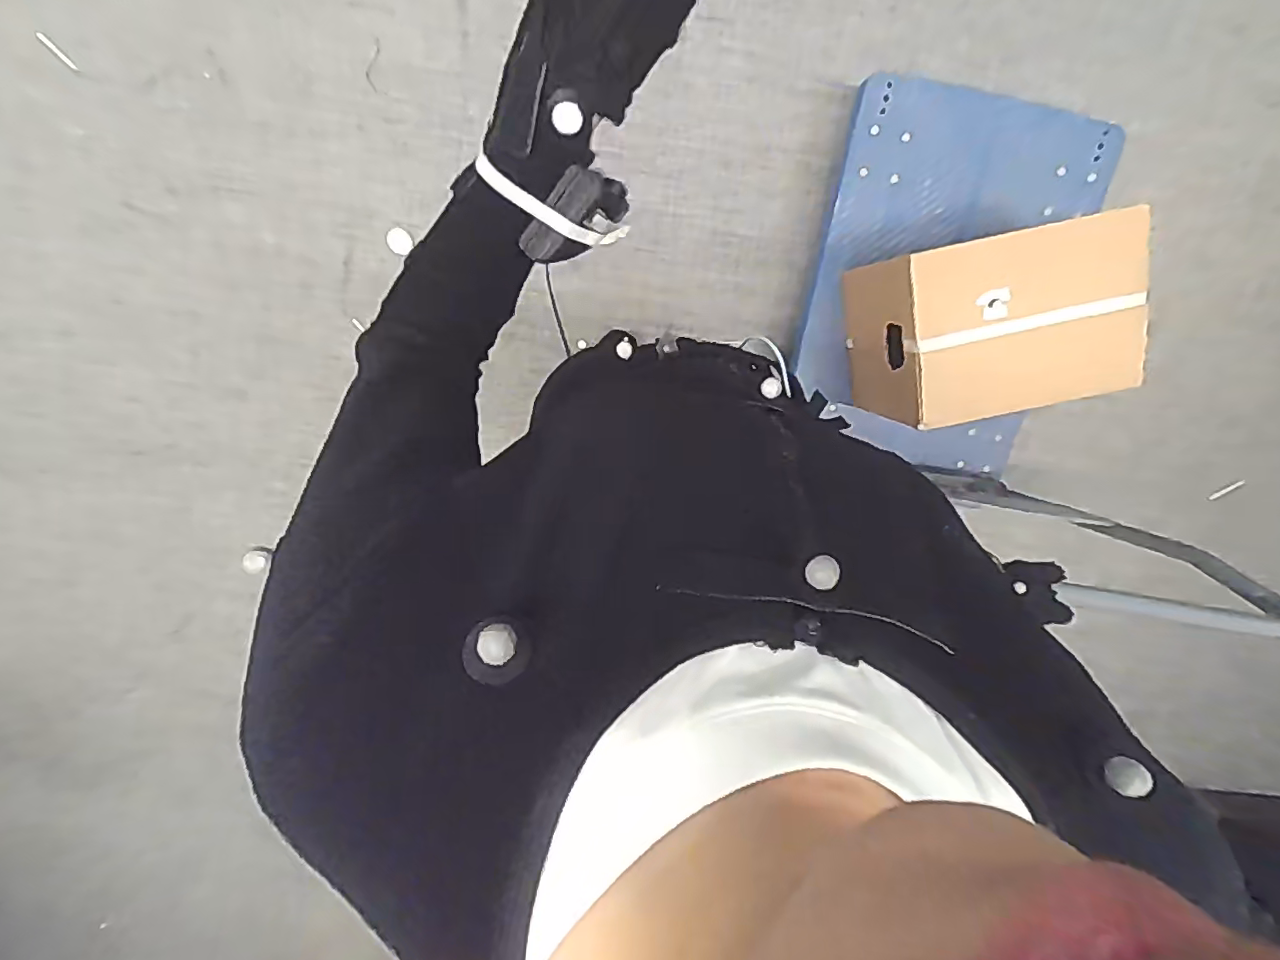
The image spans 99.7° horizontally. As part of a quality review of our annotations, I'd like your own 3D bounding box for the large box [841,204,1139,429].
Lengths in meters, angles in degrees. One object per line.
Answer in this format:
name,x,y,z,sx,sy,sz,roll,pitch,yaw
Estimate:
large box,0.672,-0.321,1.096,0.408,0.320,0.320,-12,105,3
